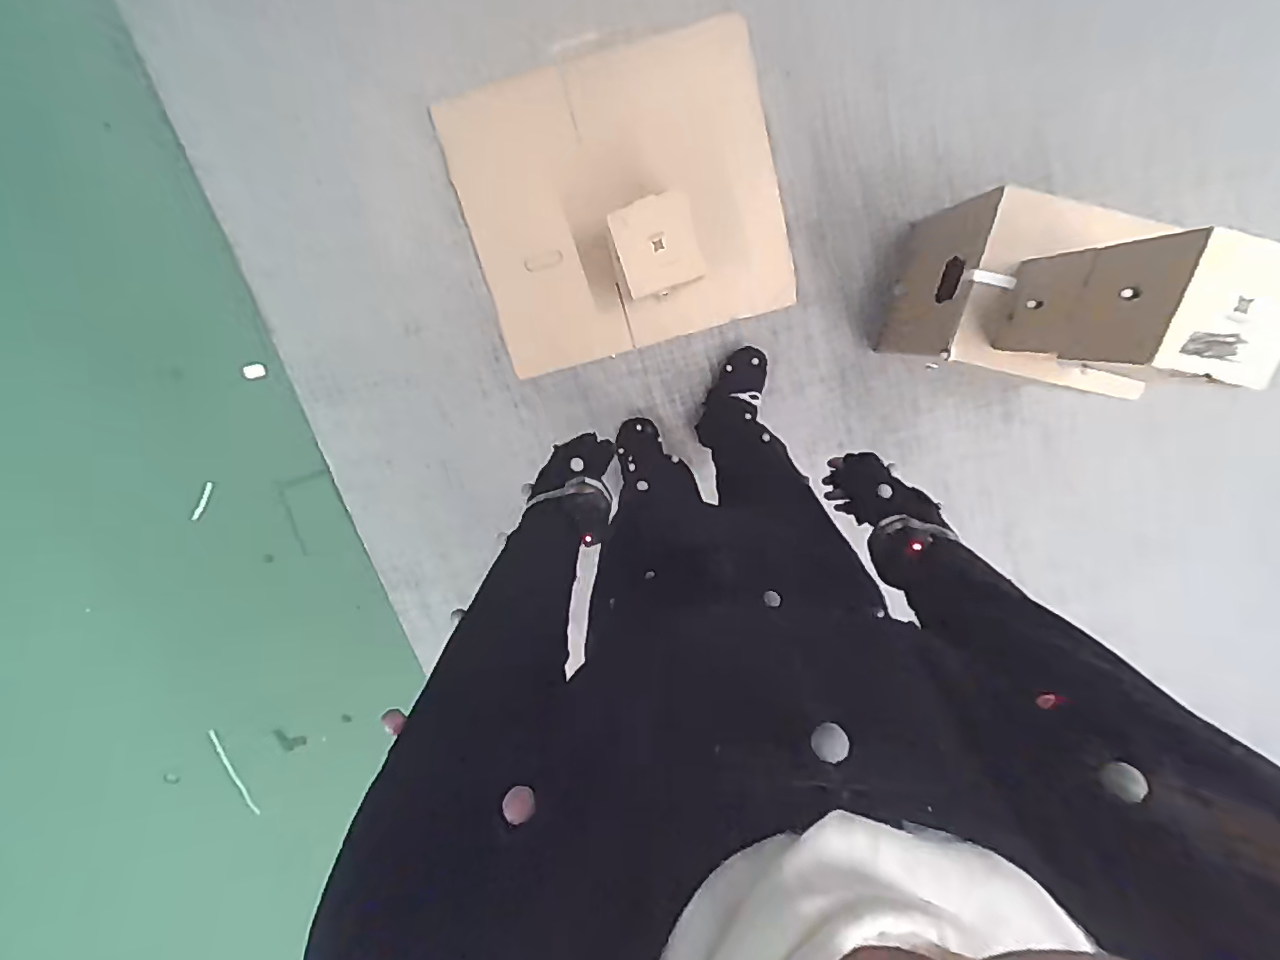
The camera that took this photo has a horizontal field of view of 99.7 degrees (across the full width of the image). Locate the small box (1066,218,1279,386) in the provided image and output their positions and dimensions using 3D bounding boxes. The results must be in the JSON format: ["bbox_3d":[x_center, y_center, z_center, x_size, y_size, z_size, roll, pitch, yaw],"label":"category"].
[{"bbox_3d":[0.762,-0.242,0.765,0.168,0.176,0.179,12,104,-4],"label":"small box"}]

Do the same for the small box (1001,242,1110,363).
[{"bbox_3d":[0.768,-0.293,0.925,0.179,0.176,0.168,7,103,-3],"label":"small box"}]

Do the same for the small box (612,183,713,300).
[{"bbox_3d":[0.049,-0.501,1.165,0.168,0.176,0.179,-18,105,8],"label":"small box"}]
